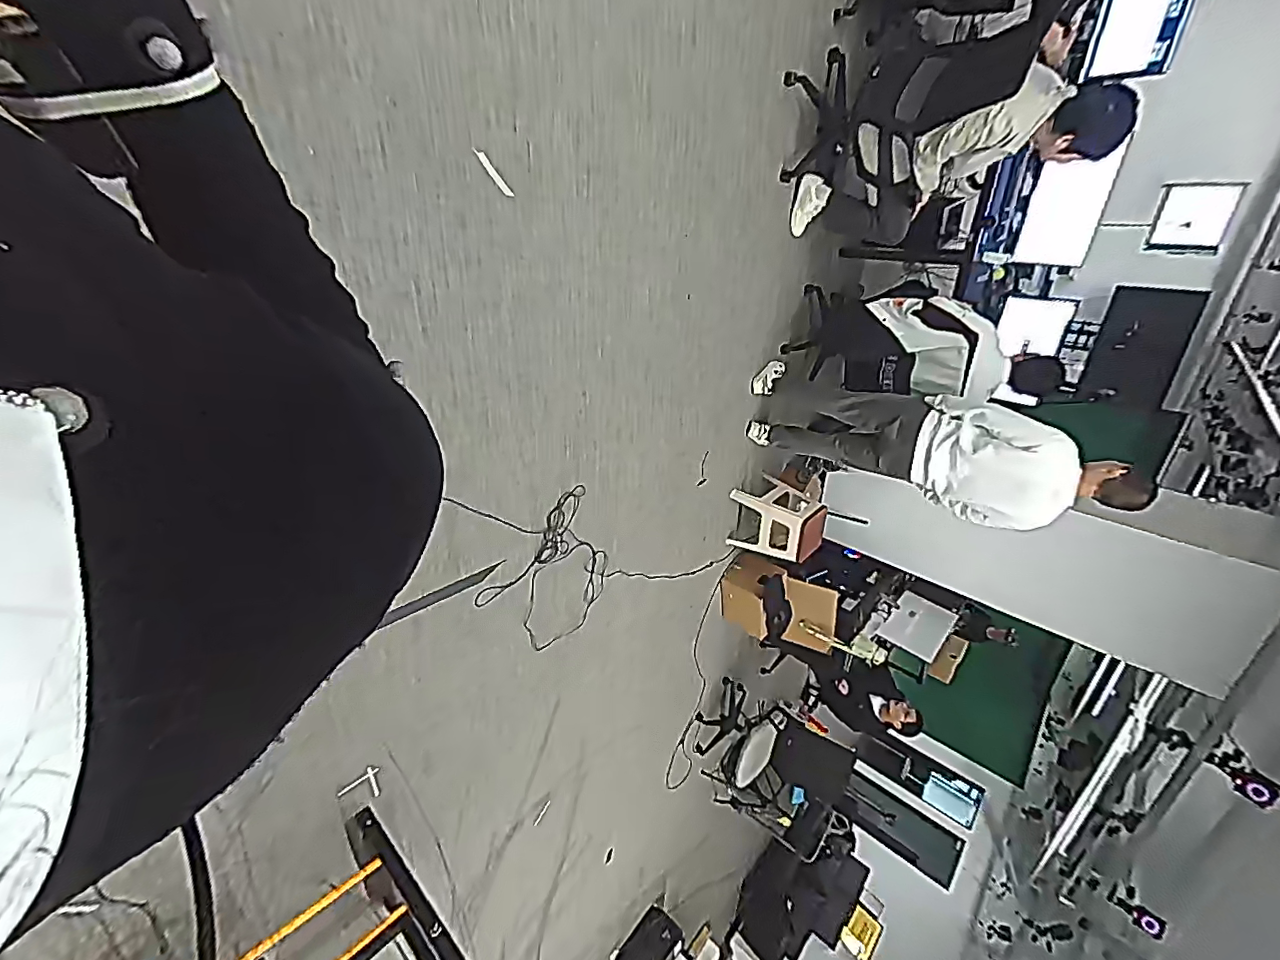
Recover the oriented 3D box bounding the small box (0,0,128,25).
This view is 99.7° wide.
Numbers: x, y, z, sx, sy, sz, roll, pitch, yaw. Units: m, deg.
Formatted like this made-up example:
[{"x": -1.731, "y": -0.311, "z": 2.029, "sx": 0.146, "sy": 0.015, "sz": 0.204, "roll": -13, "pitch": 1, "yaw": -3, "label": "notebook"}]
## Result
[{"x": -0.647, "y": -0.564, "z": 0.515, "sx": 0.179, "sy": 0.176, "sz": 0.168, "roll": -25, "pitch": 128, "yaw": -43, "label": "small box"}]
